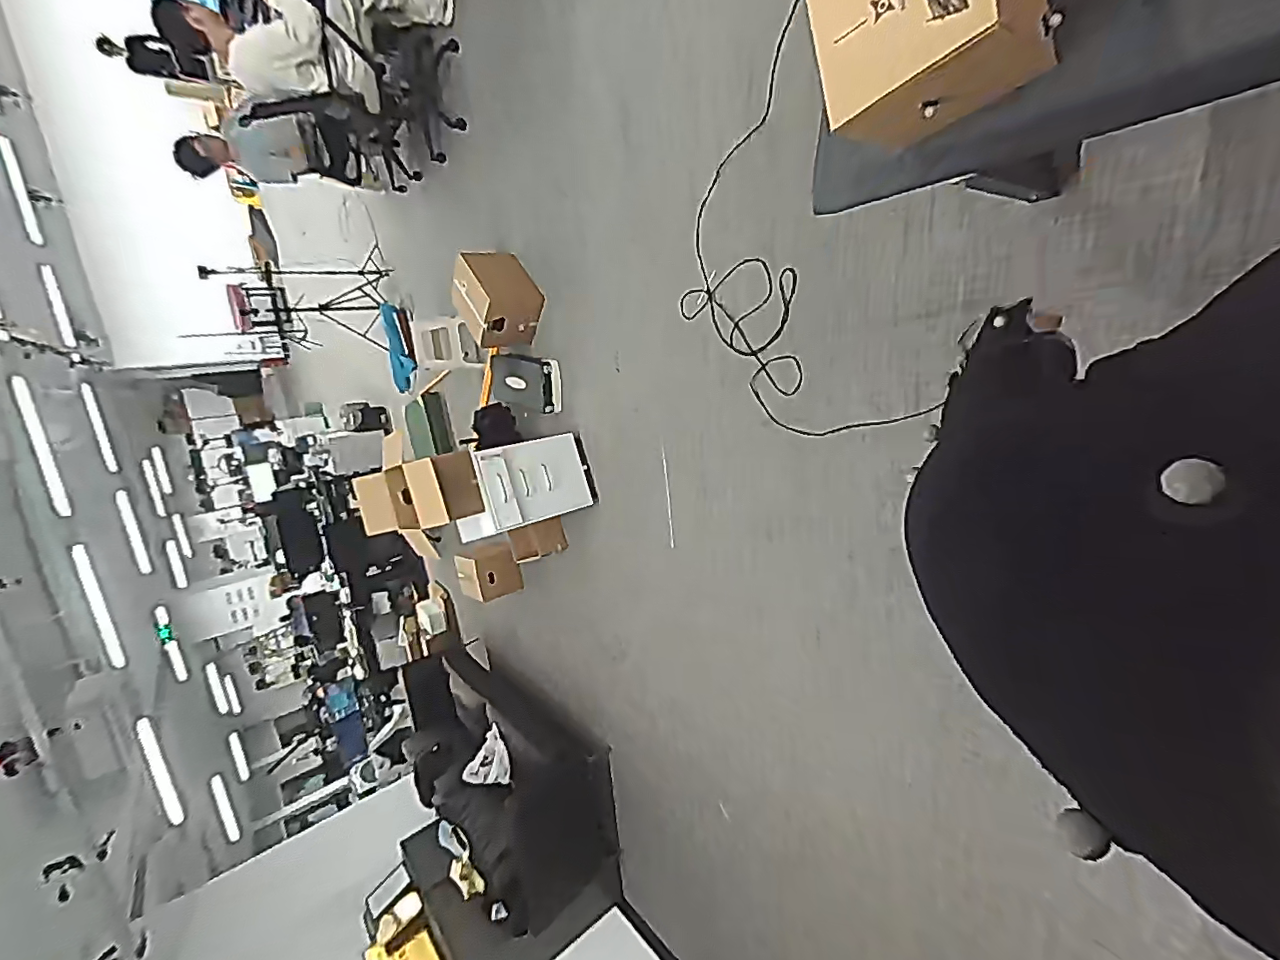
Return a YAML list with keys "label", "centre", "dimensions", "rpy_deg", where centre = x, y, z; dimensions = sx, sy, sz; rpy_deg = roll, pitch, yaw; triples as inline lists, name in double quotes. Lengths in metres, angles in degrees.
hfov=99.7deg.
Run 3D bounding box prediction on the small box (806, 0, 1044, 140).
- label: "small box"
  centre: [0.314, -0.509, 0.593]
  dimensions: [0.179, 0.176, 0.168]
  rpy_deg: [-6, 99, 53]
